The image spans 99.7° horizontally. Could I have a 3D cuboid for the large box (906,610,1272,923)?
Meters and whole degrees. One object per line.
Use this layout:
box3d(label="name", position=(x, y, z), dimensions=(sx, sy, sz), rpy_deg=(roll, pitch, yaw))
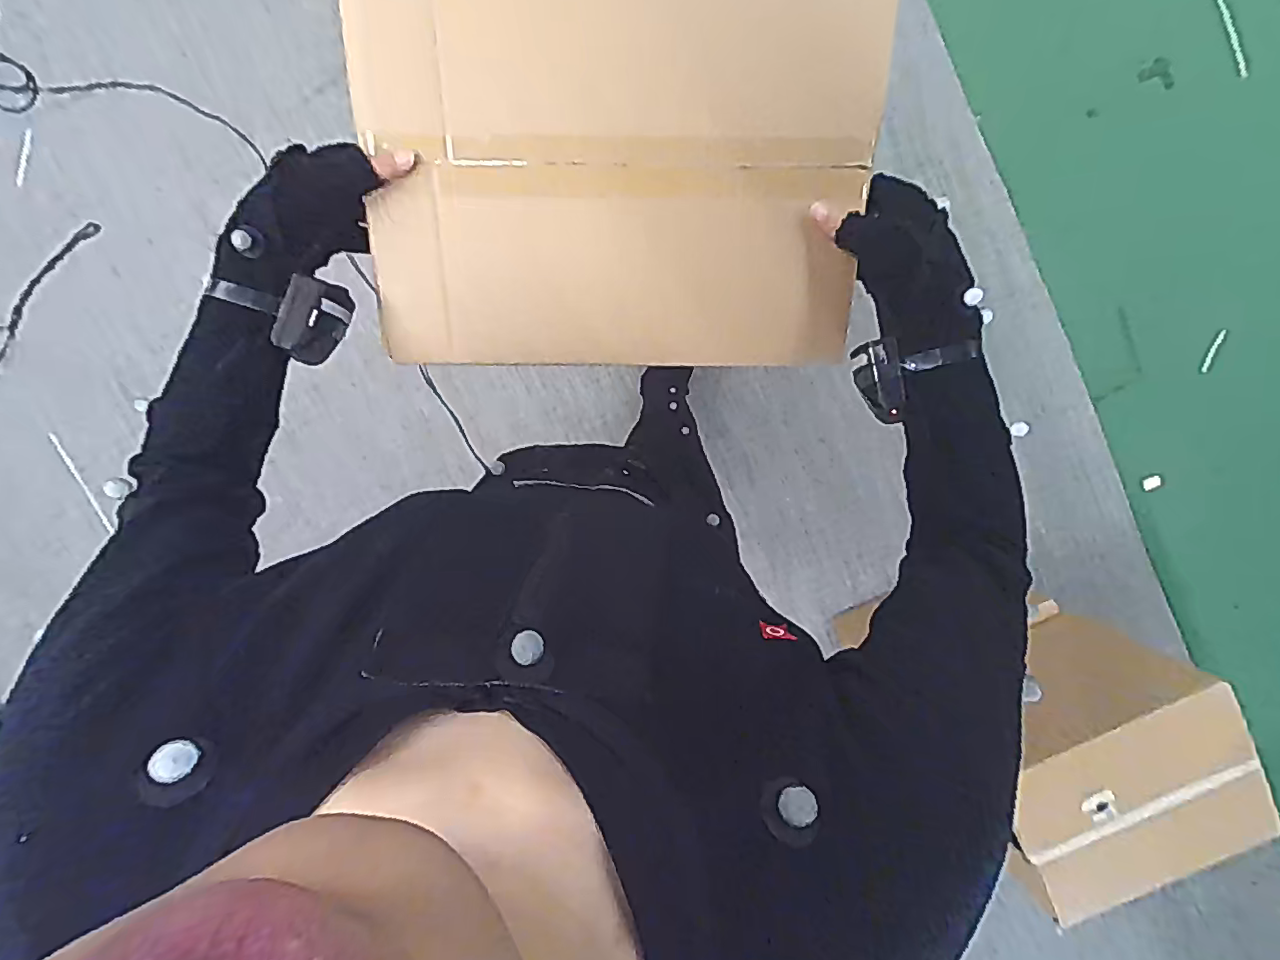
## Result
box3d(label="large box", position=(0.818, 0.515, 1.038), dimensions=(0.408, 0.320, 0.320), rpy_deg=(-25, 98, 3))
